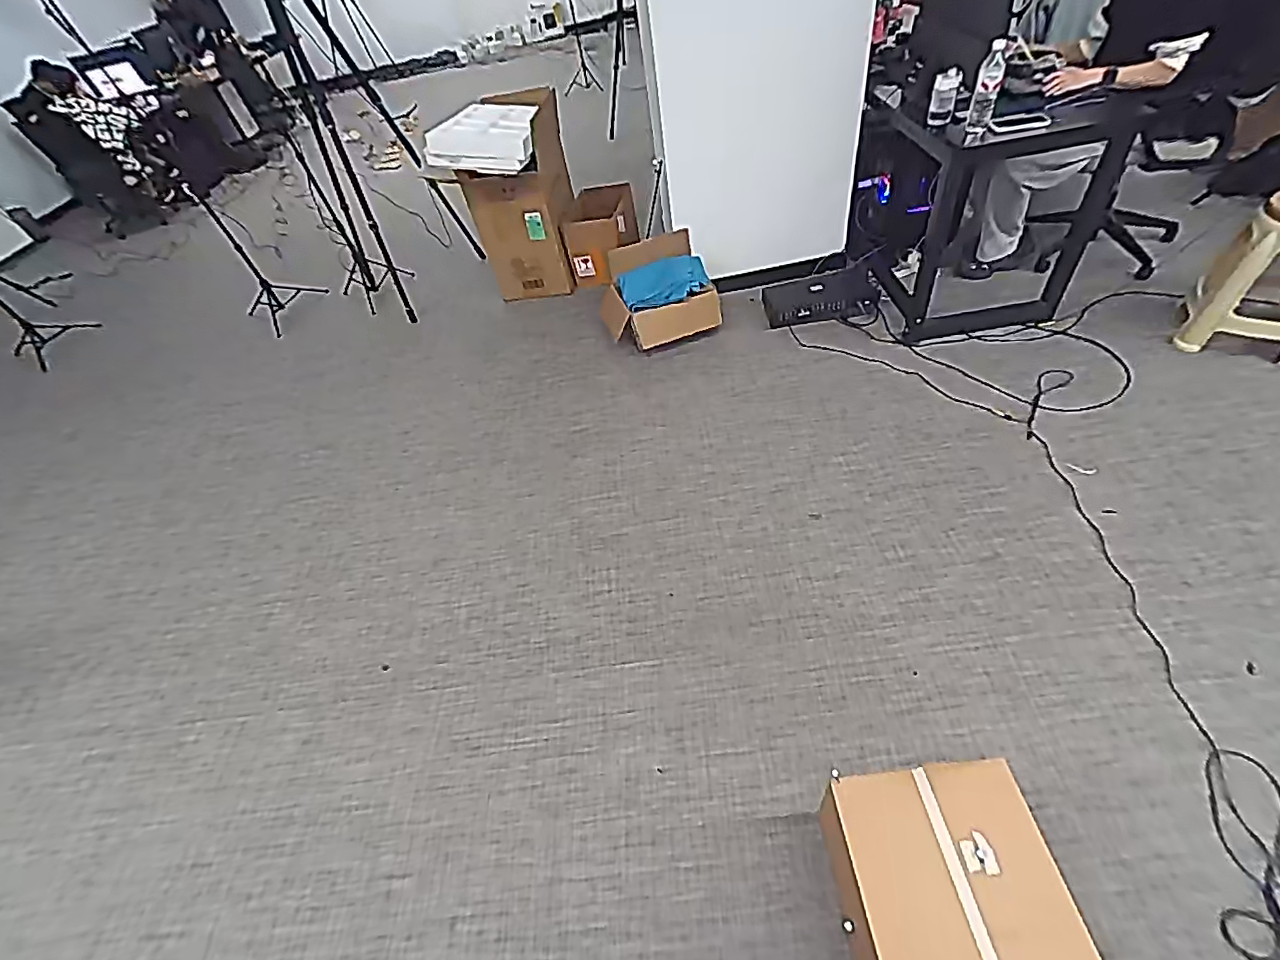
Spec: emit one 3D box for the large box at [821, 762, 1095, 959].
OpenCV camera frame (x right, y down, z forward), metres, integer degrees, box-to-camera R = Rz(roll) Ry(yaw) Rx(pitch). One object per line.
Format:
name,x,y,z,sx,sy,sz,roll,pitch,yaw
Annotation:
large box,0.542,0.782,0.968,0.320,0.320,0.408,-8,46,4
